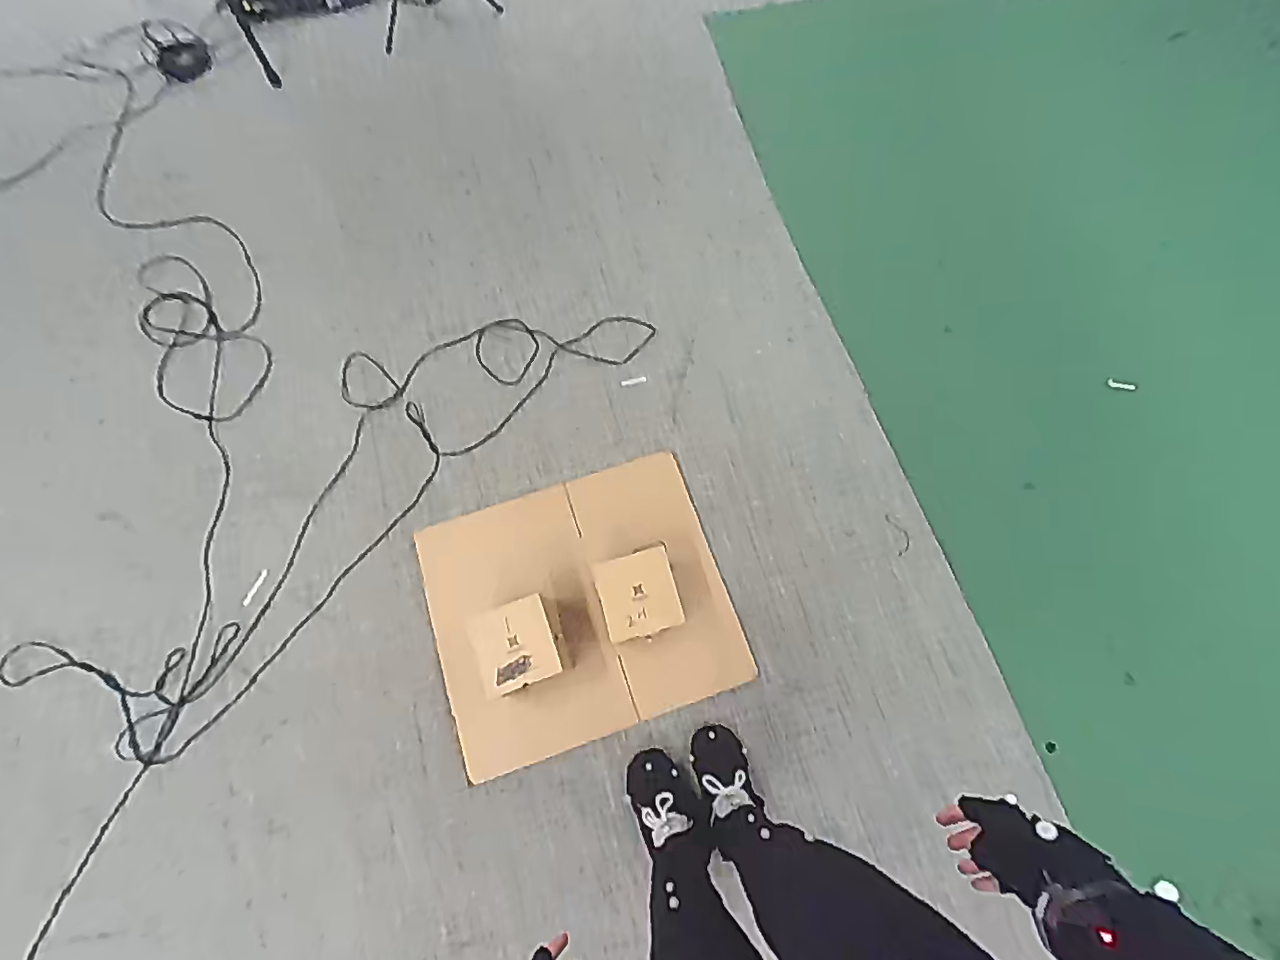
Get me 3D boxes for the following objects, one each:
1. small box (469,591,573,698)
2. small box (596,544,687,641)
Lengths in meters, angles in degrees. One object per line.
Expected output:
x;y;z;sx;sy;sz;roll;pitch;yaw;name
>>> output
-0.258;0.364;1.205;0.168;0.176;0.179;-20;73;-6;small box
0.001;0.264;1.240;0.168;0.176;0.179;-14;73;-3;small box
